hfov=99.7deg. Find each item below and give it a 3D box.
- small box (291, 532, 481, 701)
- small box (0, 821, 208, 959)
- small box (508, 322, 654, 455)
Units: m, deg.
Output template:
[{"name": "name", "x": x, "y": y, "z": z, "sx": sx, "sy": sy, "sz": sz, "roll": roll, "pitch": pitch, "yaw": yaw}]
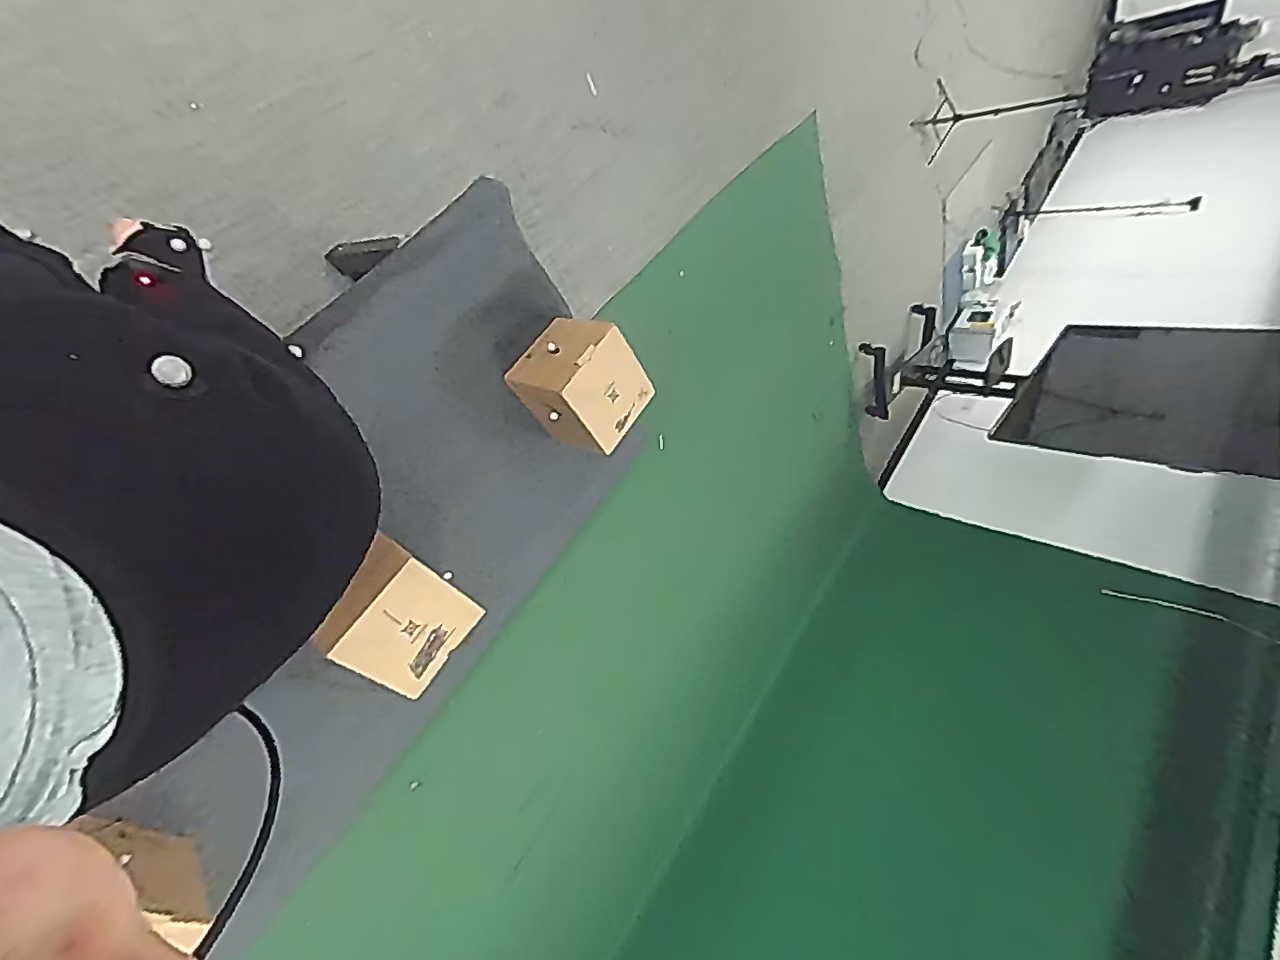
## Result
[{"name": "small box", "x": -0.392, "y": 0.204, "z": 0.840, "sx": 0.168, "sy": 0.176, "sz": 0.179, "roll": -53, "pitch": 135, "yaw": -20}, {"name": "small box", "x": -0.682, "y": 0.555, "z": 0.650, "sx": 0.179, "sy": 0.176, "sz": 0.168, "roll": -51, "pitch": 134, "yaw": -21}, {"name": "small box", "x": -0.112, "y": -0.174, "z": 1.009, "sx": 0.168, "sy": 0.176, "sz": 0.179, "roll": -54, "pitch": 136, "yaw": -18}]
